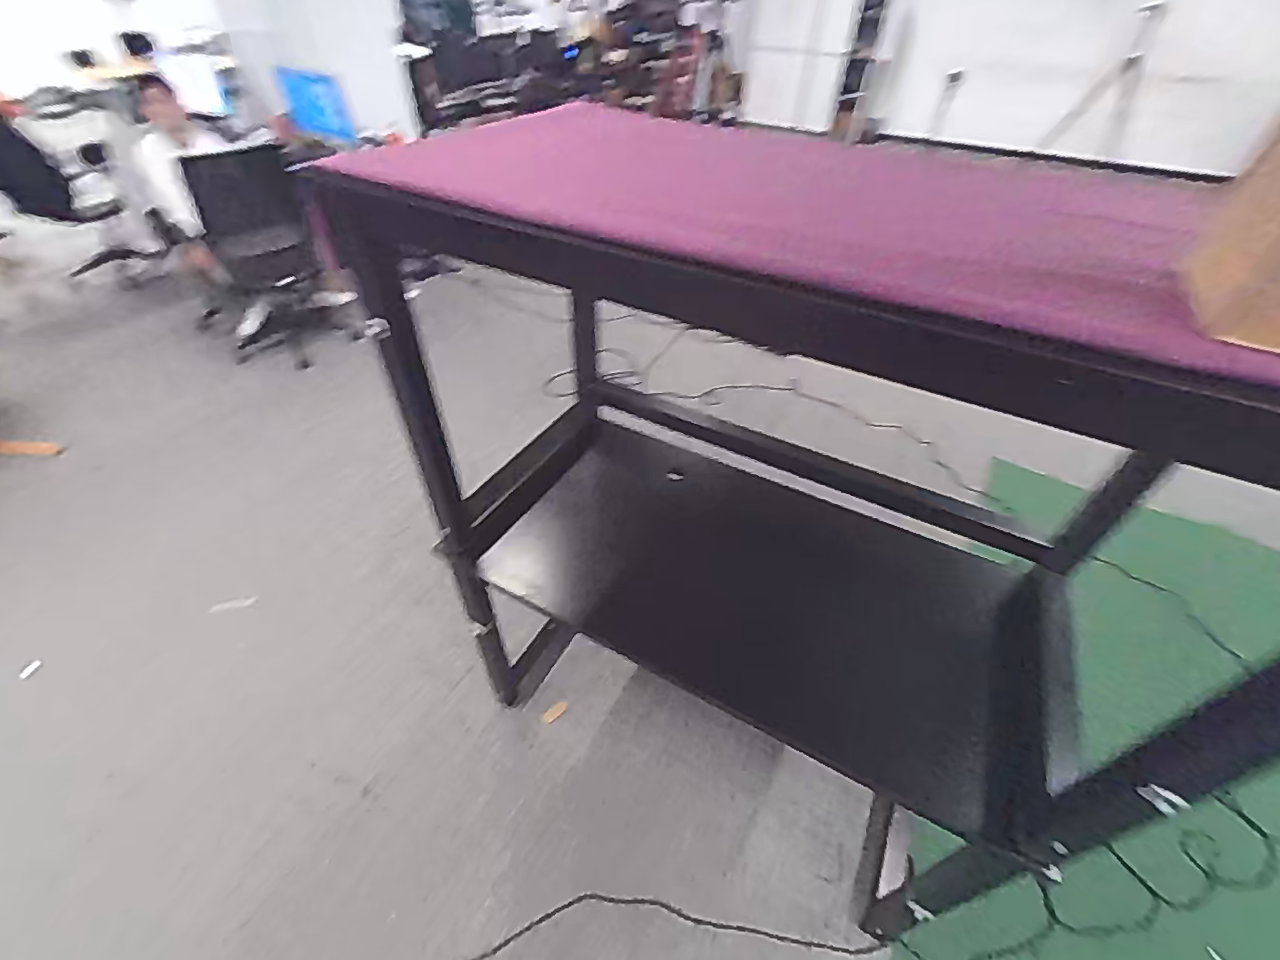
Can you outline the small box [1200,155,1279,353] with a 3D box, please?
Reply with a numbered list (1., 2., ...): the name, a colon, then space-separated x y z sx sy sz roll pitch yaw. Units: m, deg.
1. small box: 0.553 -0.182 0.378 0.168 0.176 0.179 23 47 22
